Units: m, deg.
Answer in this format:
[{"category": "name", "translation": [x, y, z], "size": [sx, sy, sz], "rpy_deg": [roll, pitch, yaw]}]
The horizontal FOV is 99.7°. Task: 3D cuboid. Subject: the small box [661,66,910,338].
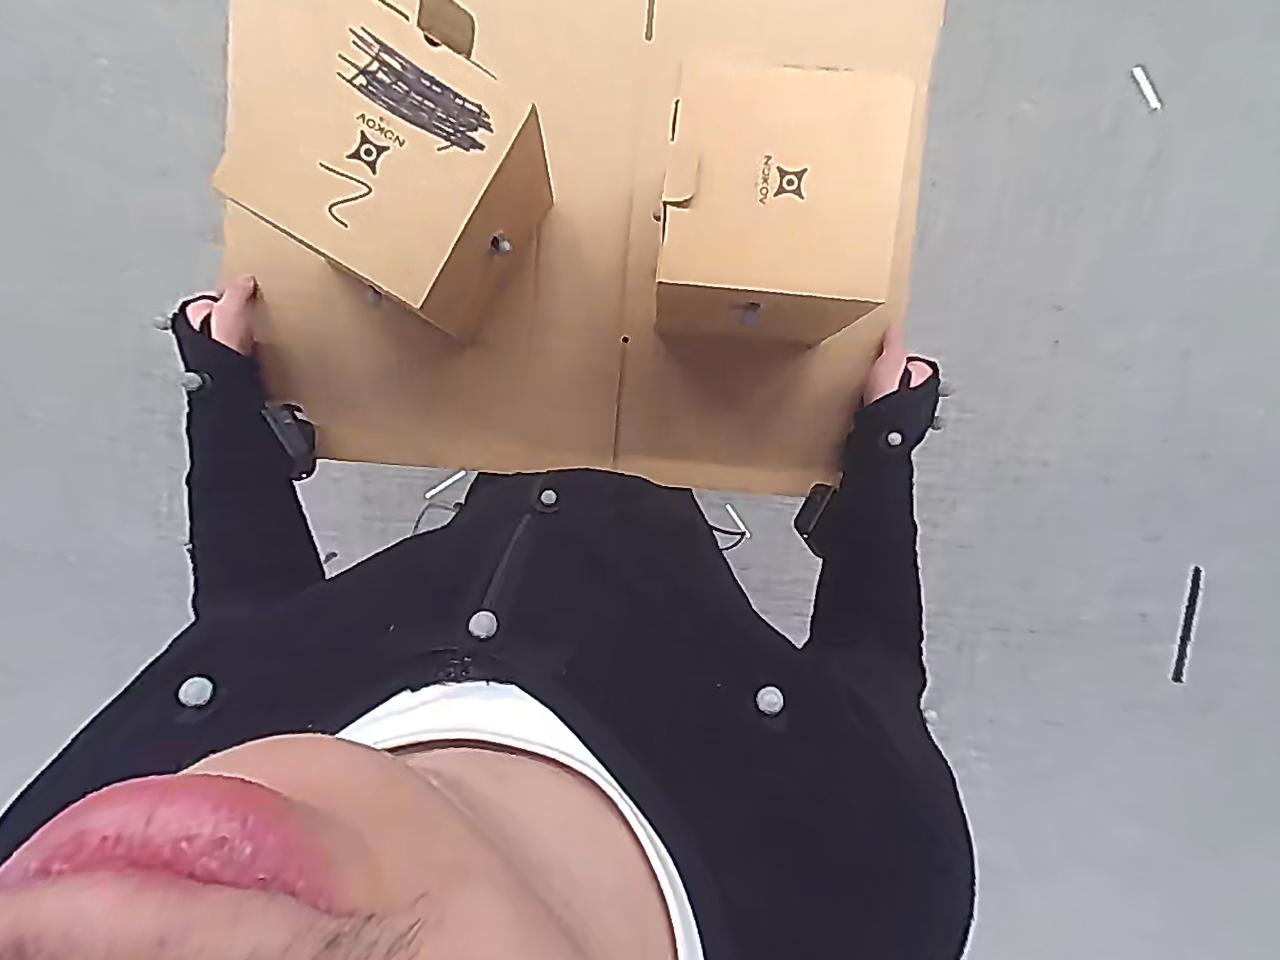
[{"category": "small box", "translation": [0.114, -0.233, 0.498], "size": [0.179, 0.176, 0.168], "rpy_deg": [6, 94, 2]}]
